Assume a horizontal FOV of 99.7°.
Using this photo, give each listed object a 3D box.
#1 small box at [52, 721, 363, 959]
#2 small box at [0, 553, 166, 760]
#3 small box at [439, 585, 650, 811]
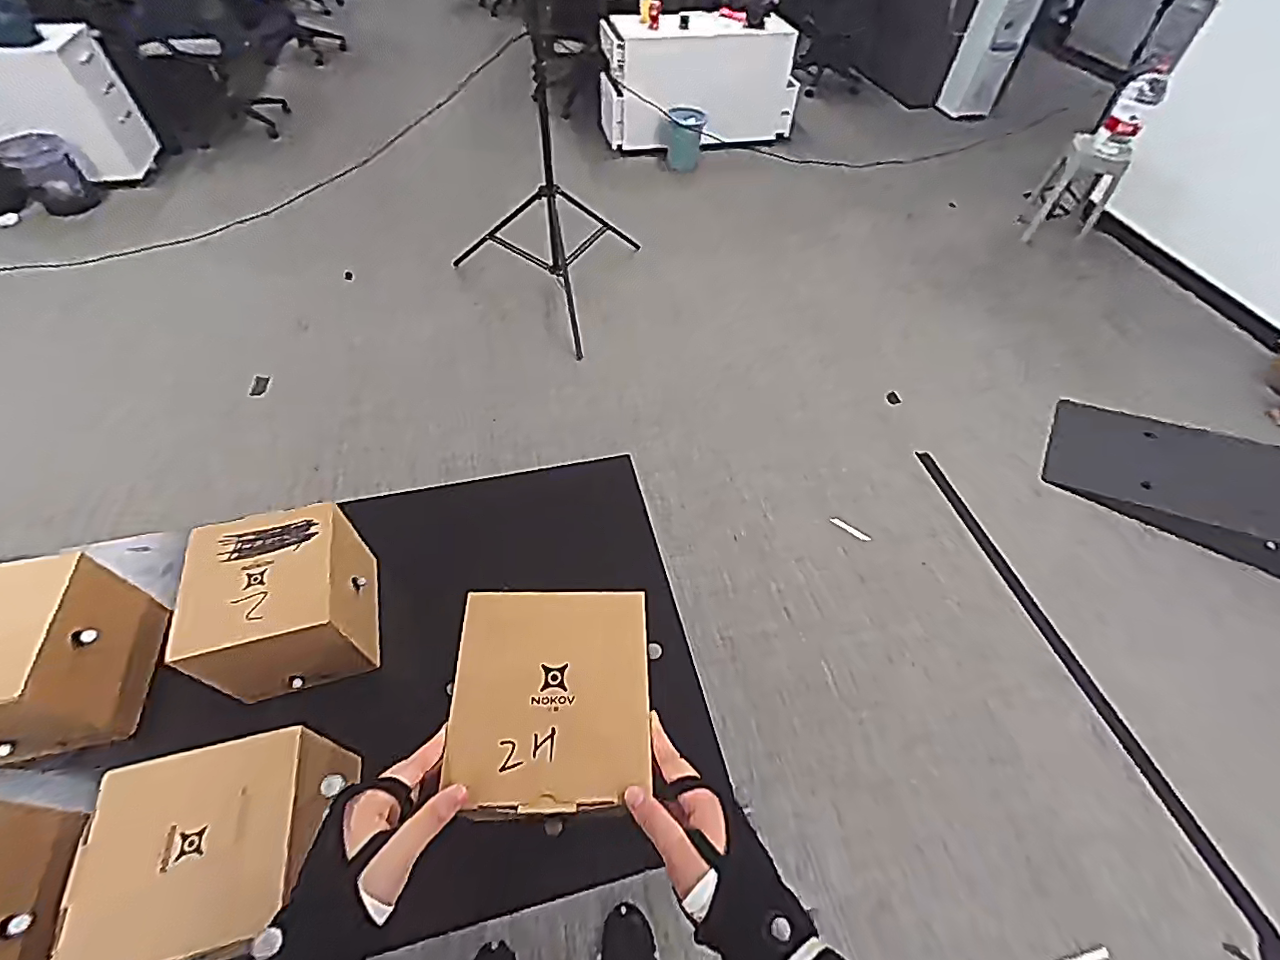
[{"bbox_3d":[-0.406,0.369,0.548,0.179,0.176,0.168,-11,55,-11],"label":"small box"},{"bbox_3d":[-0.729,0.214,0.651,0.168,0.176,0.179,-9,54,-10],"label":"small box"},{"bbox_3d":[-0.082,0.216,0.529,0.168,0.176,0.179,0,57,-4],"label":"small box"}]
